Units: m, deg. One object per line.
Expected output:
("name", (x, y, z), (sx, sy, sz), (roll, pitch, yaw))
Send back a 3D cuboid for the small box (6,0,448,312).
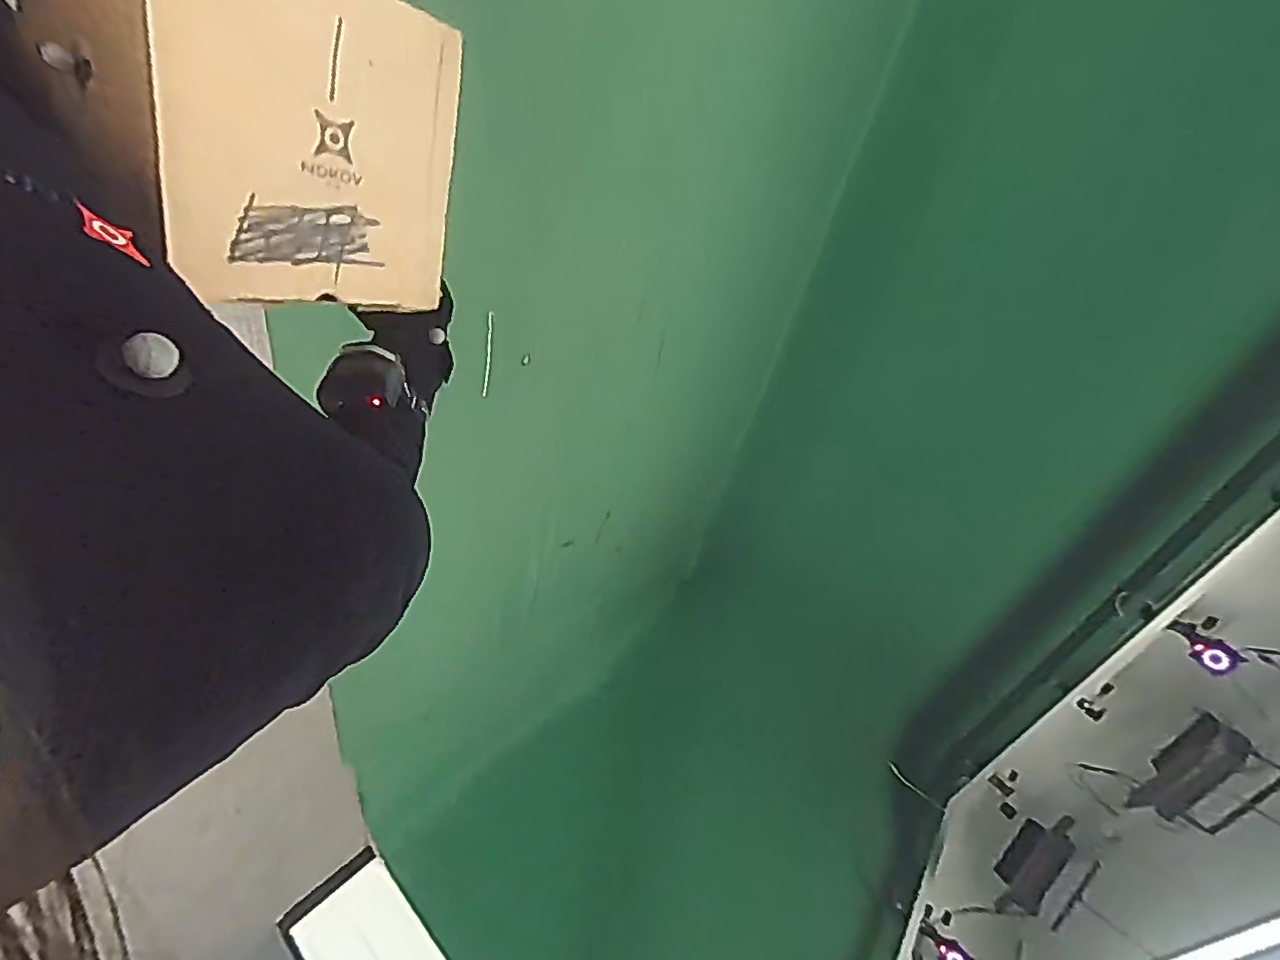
("small box", (-0.254, -0.222, 0.346), (0.168, 0.176, 0.179), (-23, 134, -56))
